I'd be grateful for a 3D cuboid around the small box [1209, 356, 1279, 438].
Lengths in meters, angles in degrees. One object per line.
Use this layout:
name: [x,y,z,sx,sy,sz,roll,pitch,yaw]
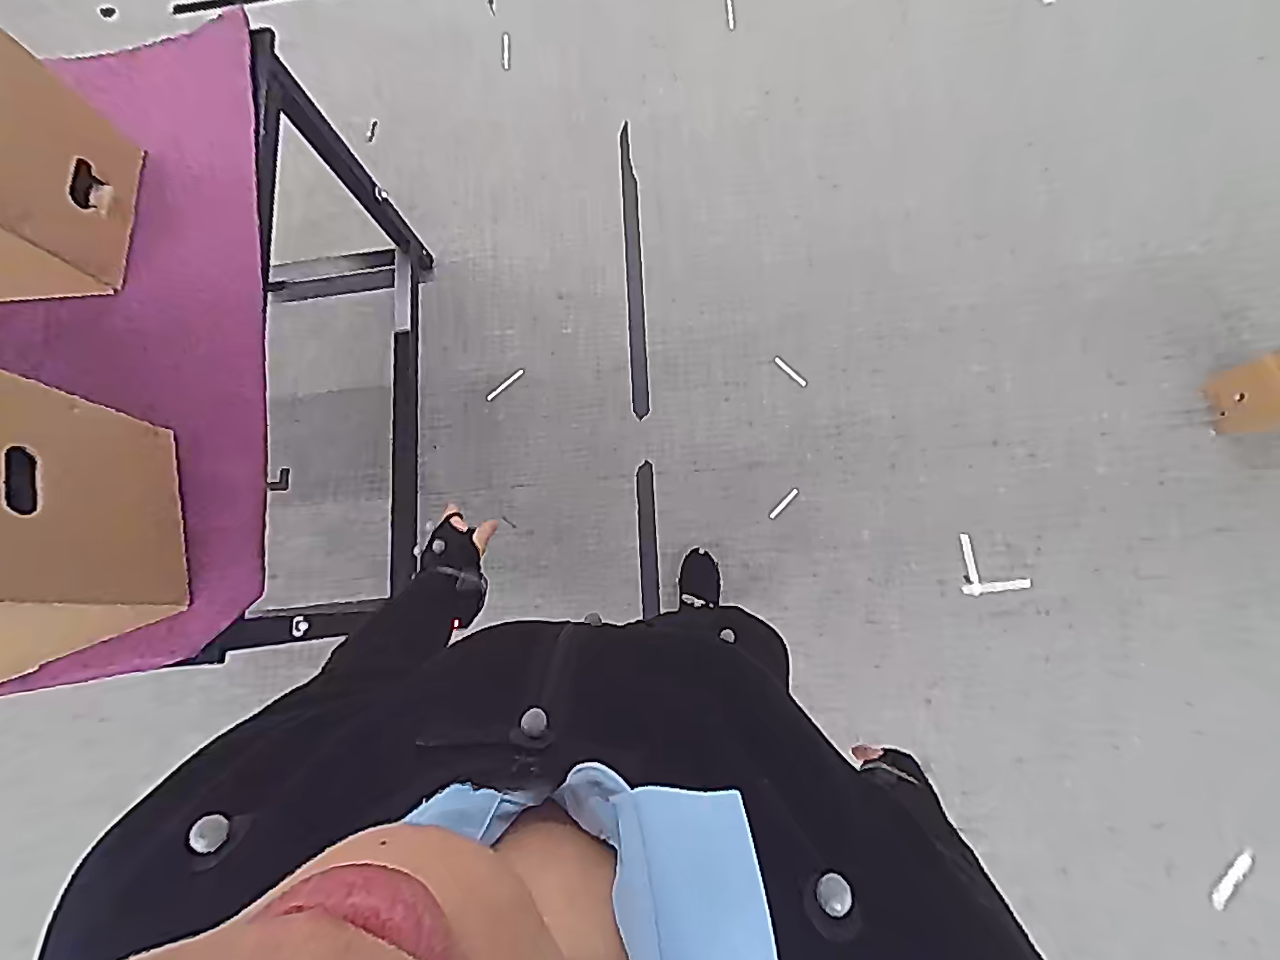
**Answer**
small box: [1.633,-0.215,1.387,0.179,0.176,0.168,-7,77,3]
